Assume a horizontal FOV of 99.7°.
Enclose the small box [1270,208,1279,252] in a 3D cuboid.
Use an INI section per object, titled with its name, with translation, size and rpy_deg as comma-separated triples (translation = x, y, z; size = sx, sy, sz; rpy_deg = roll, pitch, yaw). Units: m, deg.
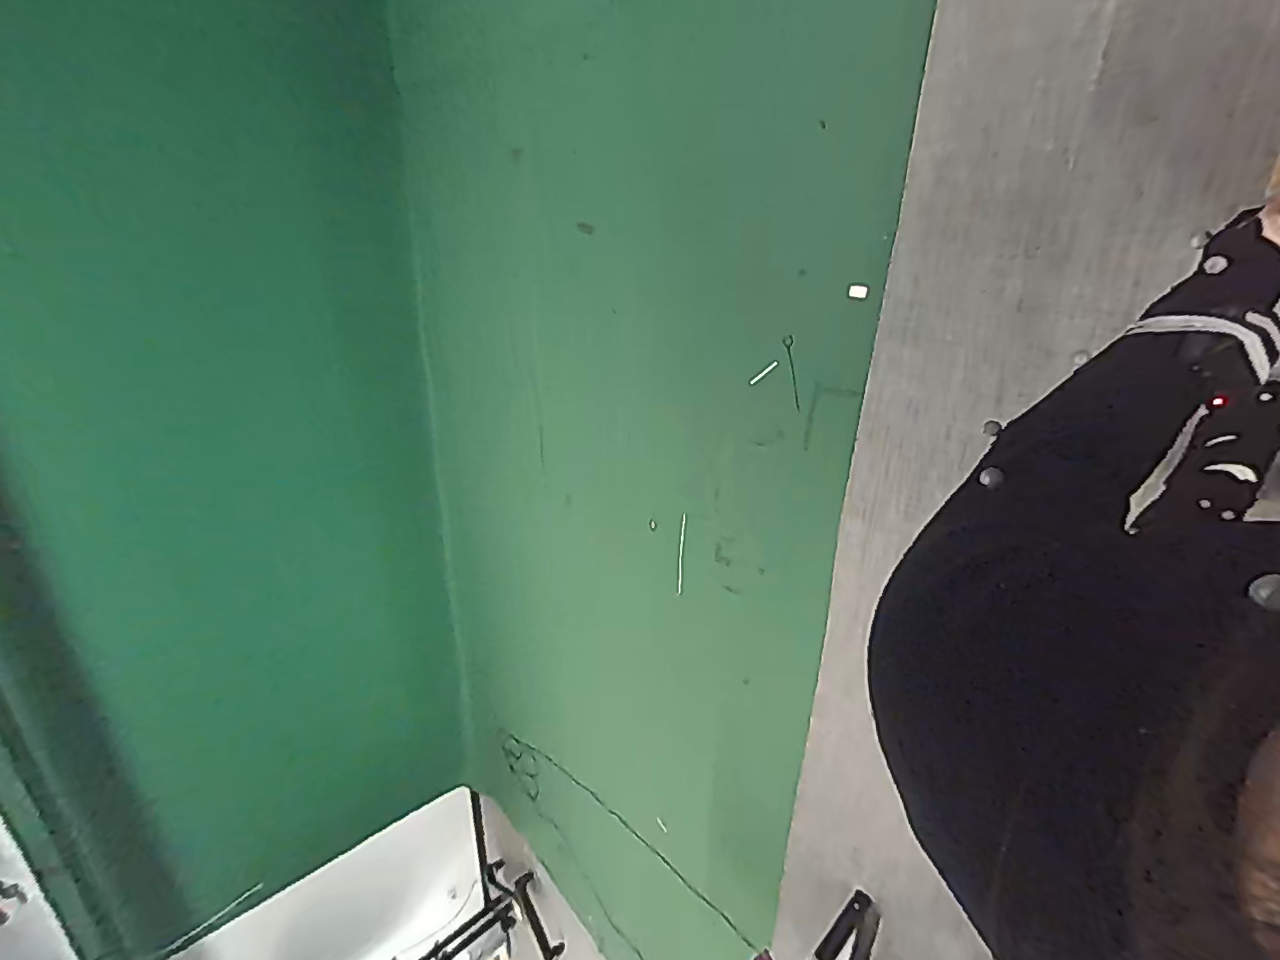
[small box]
translation = 0.608, -0.272, 0.394
size = 0.168, 0.176, 0.179
rpy_deg = 14, 117, 45
